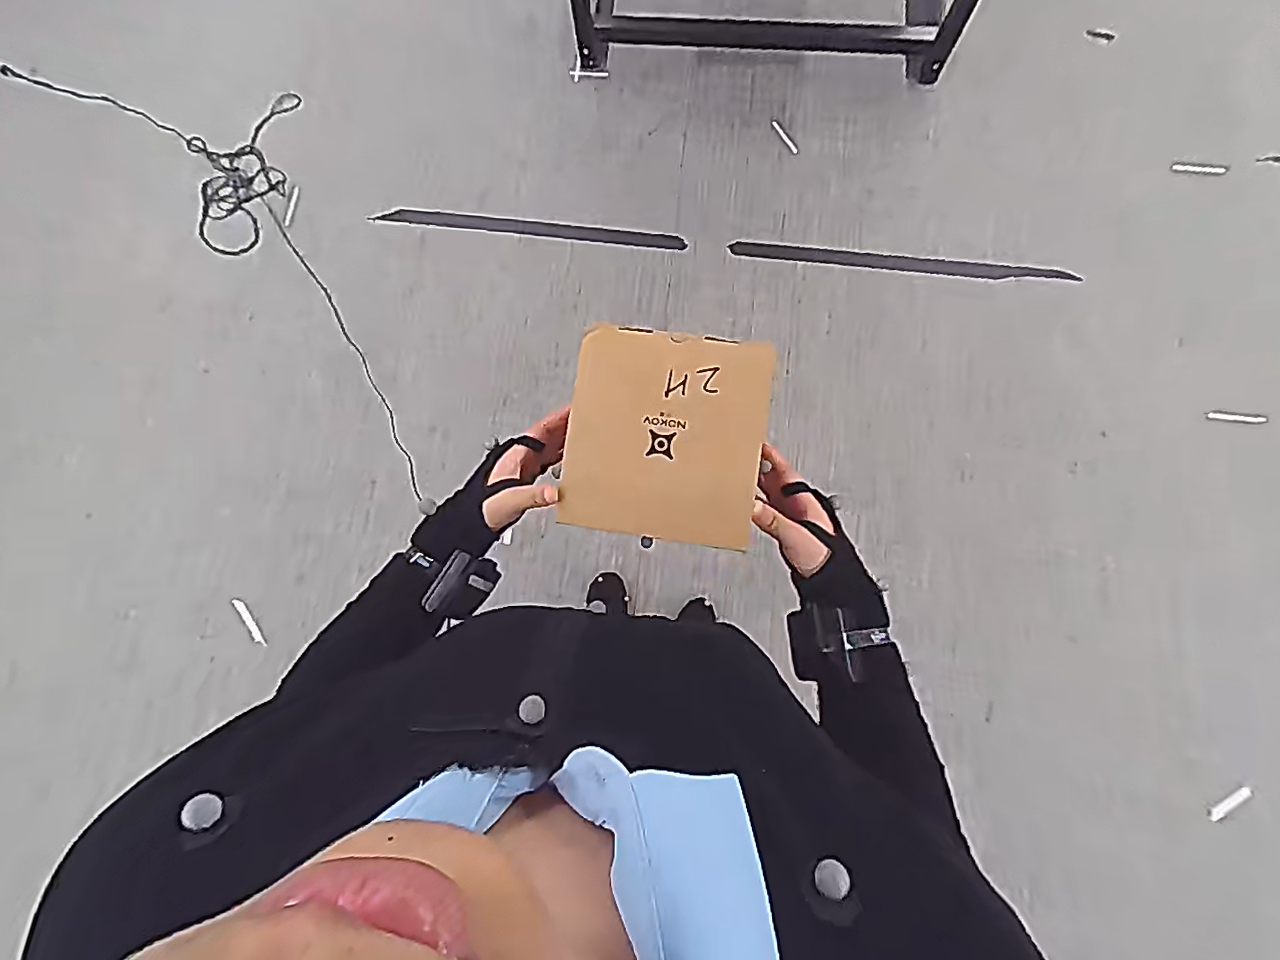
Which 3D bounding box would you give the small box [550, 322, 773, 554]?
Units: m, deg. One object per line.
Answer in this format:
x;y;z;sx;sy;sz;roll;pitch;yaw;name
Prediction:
0.023;-0.032;0.530;0.168;0.176;0.179;9;87;4;small box
